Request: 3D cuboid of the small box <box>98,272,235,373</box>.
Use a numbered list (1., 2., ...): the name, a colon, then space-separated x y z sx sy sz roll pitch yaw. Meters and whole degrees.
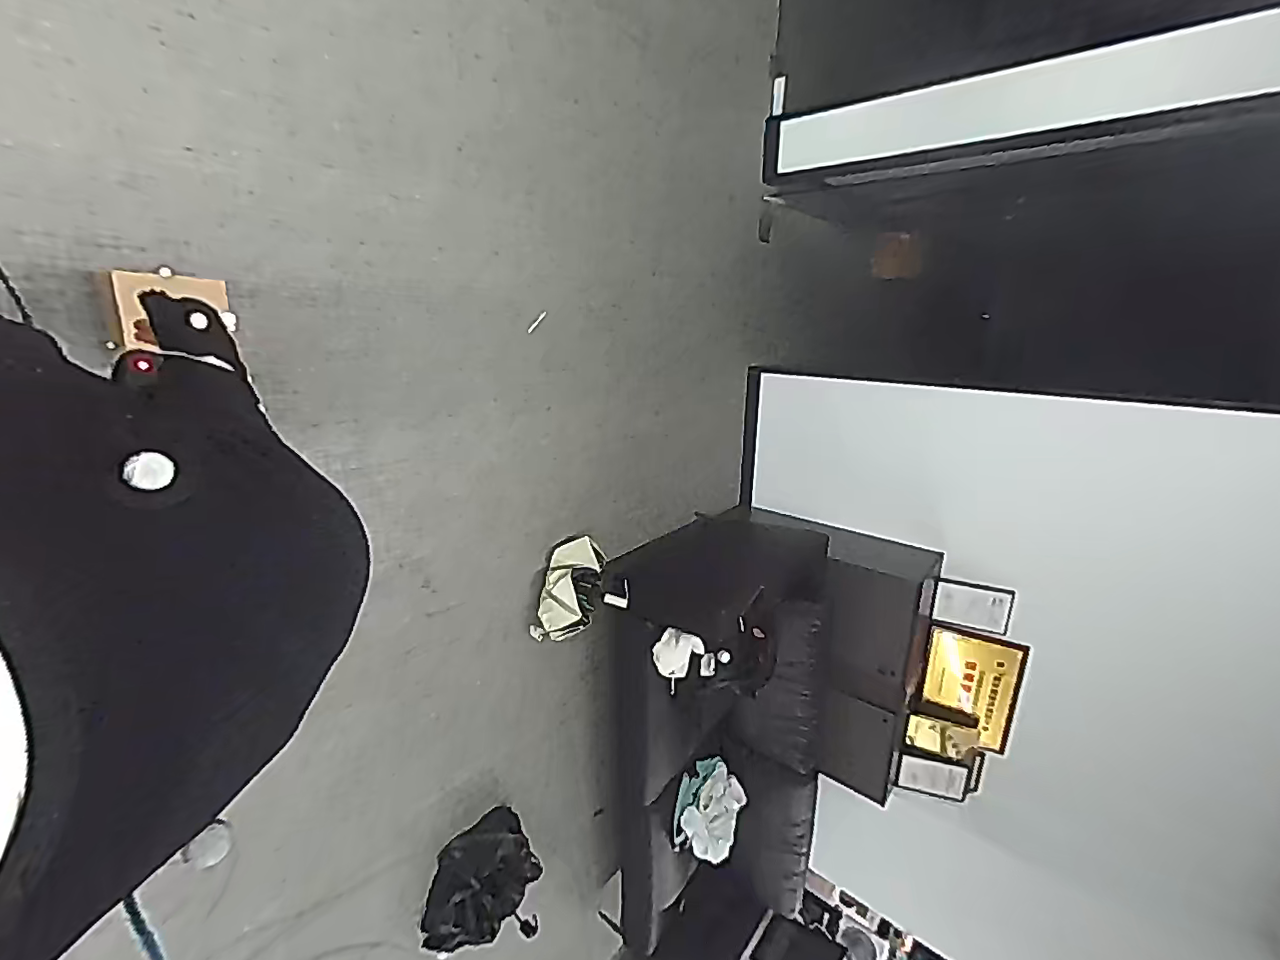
1. small box: -0.937 -0.311 1.074 0.168 0.176 0.179 -15 114 -49
